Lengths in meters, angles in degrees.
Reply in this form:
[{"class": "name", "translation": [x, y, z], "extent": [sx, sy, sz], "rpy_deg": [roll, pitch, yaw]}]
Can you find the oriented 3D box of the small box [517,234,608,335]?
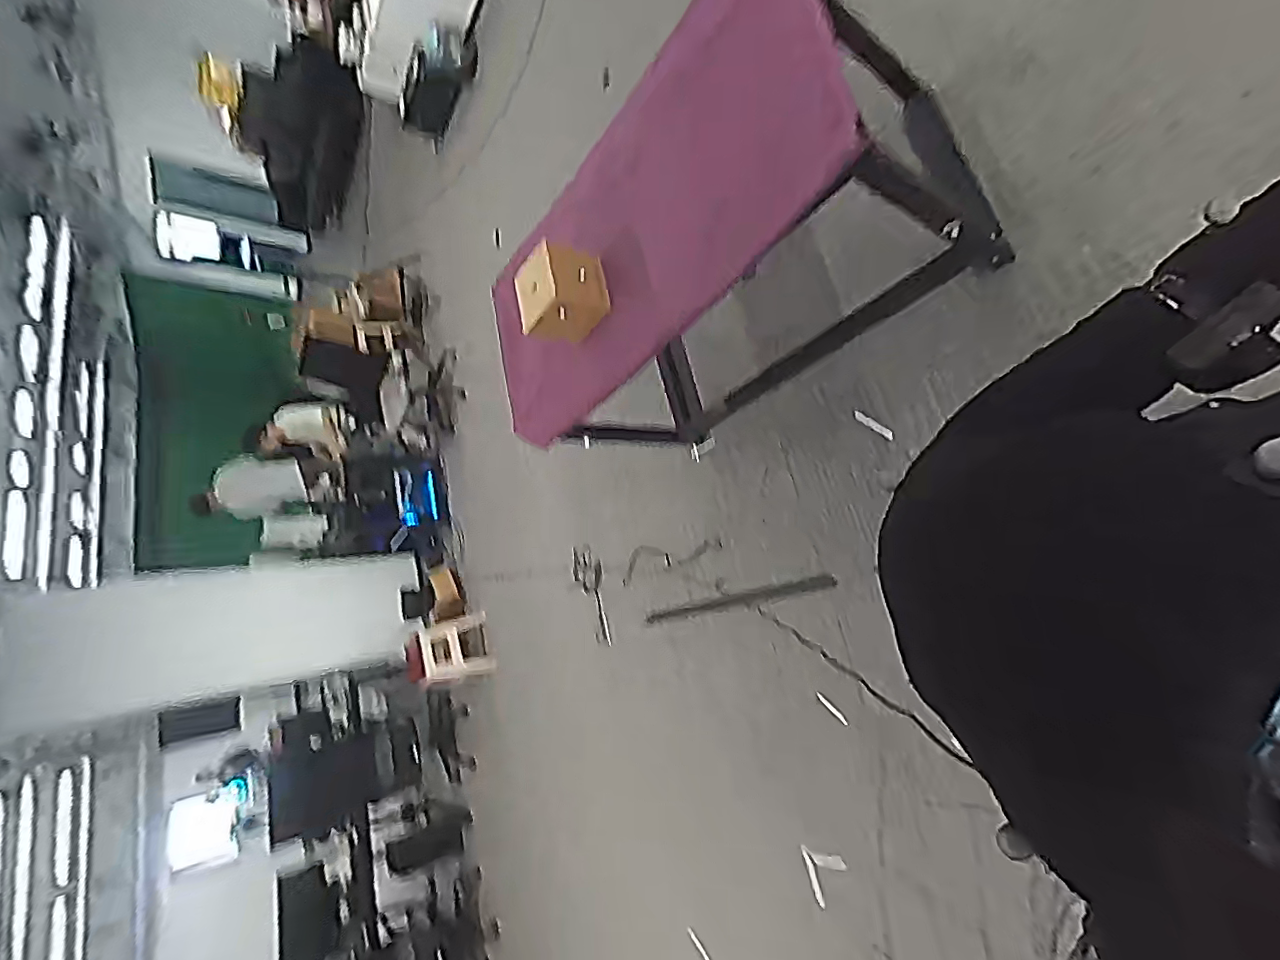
[{"class": "small box", "translation": [-0.196, -0.500, 1.406], "extent": [0.179, 0.176, 0.168], "rpy_deg": [-28, 69, 48]}]
